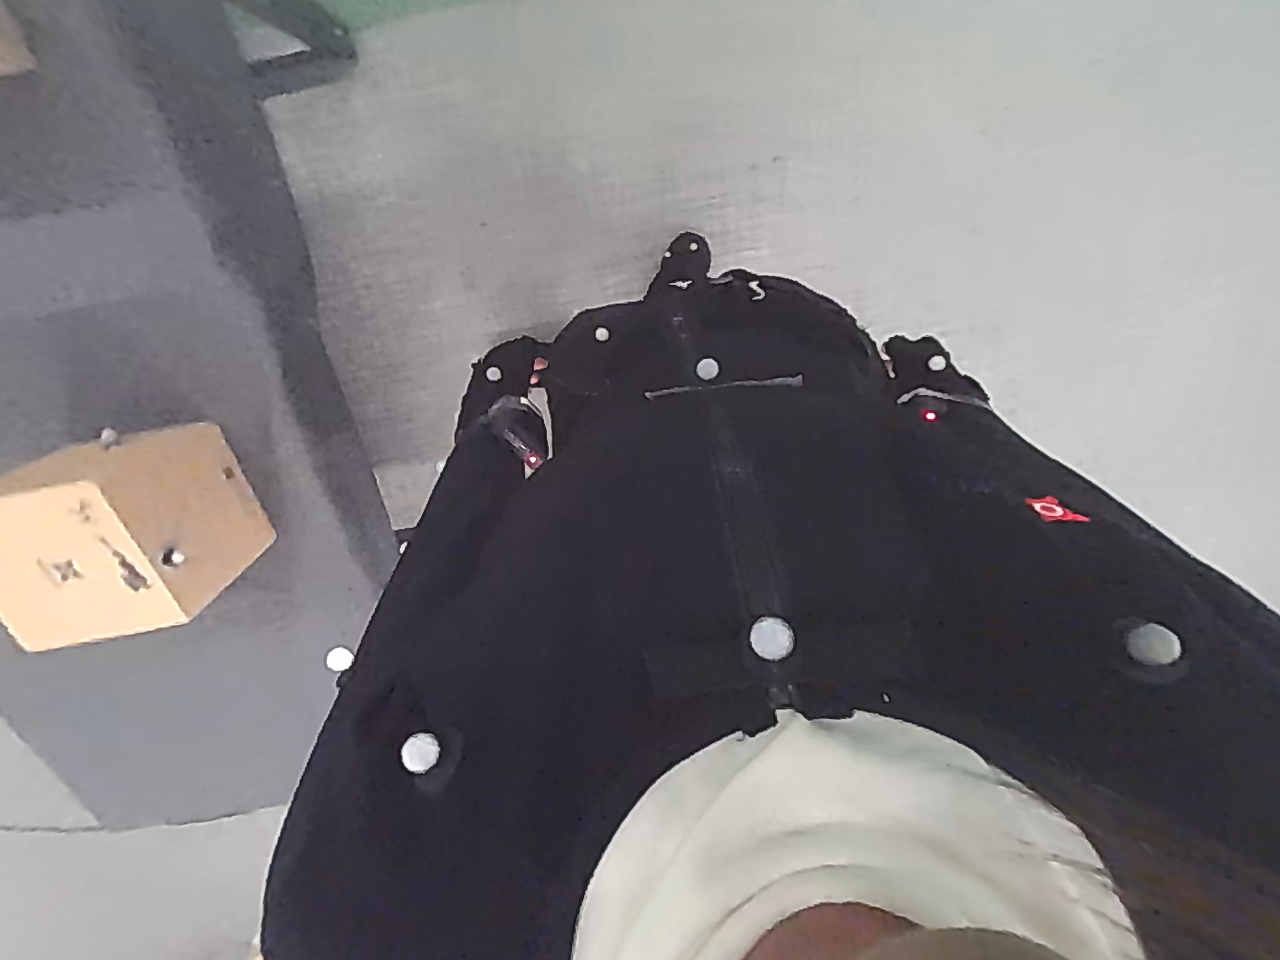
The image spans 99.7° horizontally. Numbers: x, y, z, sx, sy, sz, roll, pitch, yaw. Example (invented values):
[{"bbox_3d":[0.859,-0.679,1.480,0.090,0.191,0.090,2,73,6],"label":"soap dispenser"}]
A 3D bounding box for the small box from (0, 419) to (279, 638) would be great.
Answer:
[{"bbox_3d":[-0.558,0.045,0.600,0.179,0.176,0.168,-10,116,3],"label":"small box"}]
